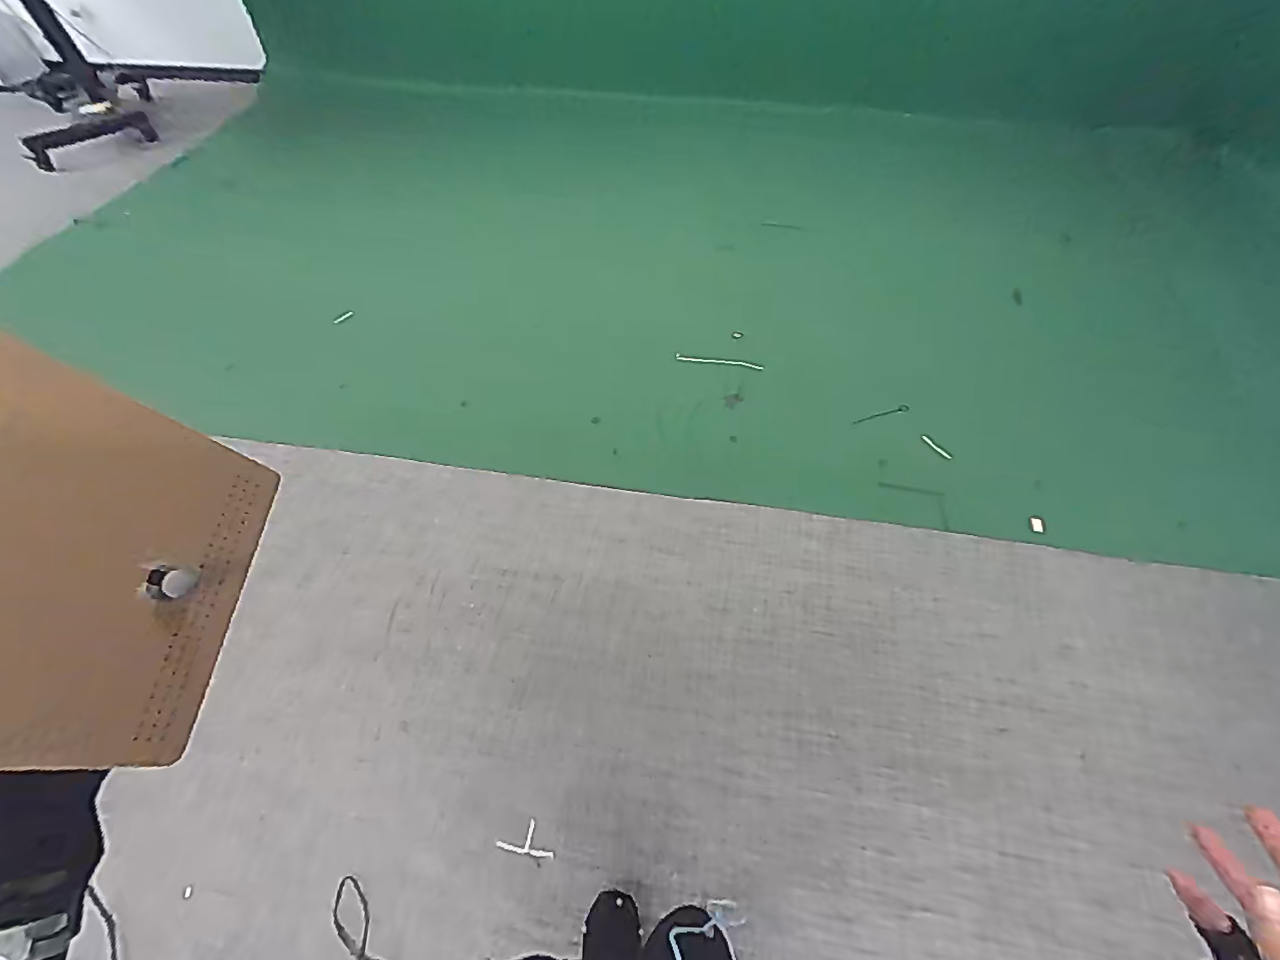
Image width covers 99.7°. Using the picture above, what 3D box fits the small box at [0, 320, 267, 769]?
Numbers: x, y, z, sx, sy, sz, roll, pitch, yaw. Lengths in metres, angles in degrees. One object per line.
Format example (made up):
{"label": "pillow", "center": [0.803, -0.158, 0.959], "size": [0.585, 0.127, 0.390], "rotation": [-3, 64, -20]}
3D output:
{"label": "small box", "center": [-0.338, 0.044, 0.273], "size": [0.168, 0.176, 0.179], "rotation": [-7, 62, 16]}
